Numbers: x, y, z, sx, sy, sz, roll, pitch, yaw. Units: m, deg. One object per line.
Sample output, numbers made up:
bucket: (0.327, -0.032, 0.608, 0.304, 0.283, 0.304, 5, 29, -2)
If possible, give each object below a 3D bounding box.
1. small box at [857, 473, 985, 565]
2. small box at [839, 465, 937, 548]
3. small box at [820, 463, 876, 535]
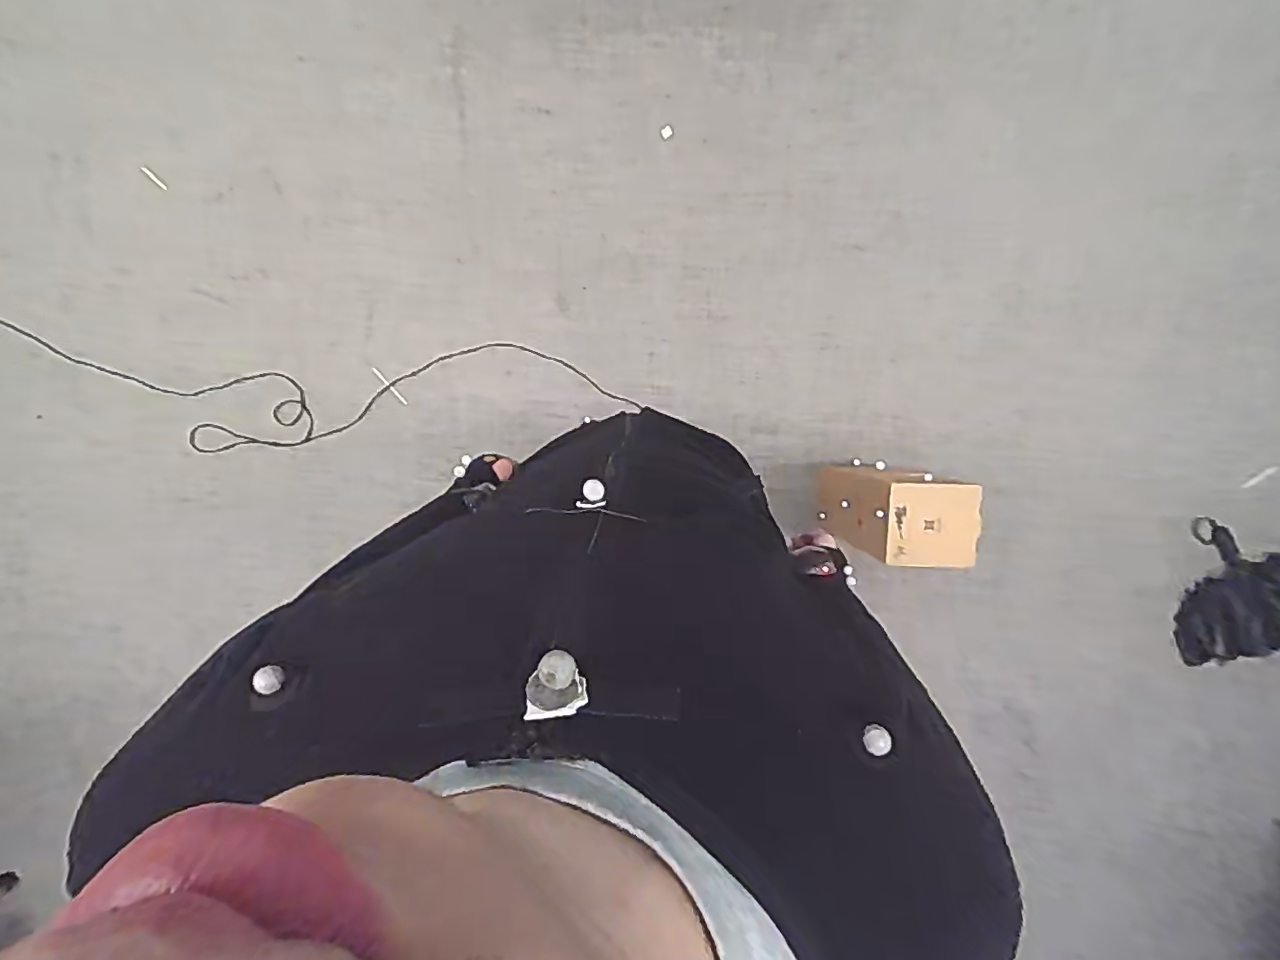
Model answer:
small box: (0.576, 0.074, 1.127, 0.179, 0.176, 0.168, 1, 96, 2)
small box: (0.583, 0.058, 1.289, 0.168, 0.176, 0.179, -1, 96, 2)
small box: (0.590, 0.048, 1.453, 0.168, 0.176, 0.179, 0, 95, 2)
